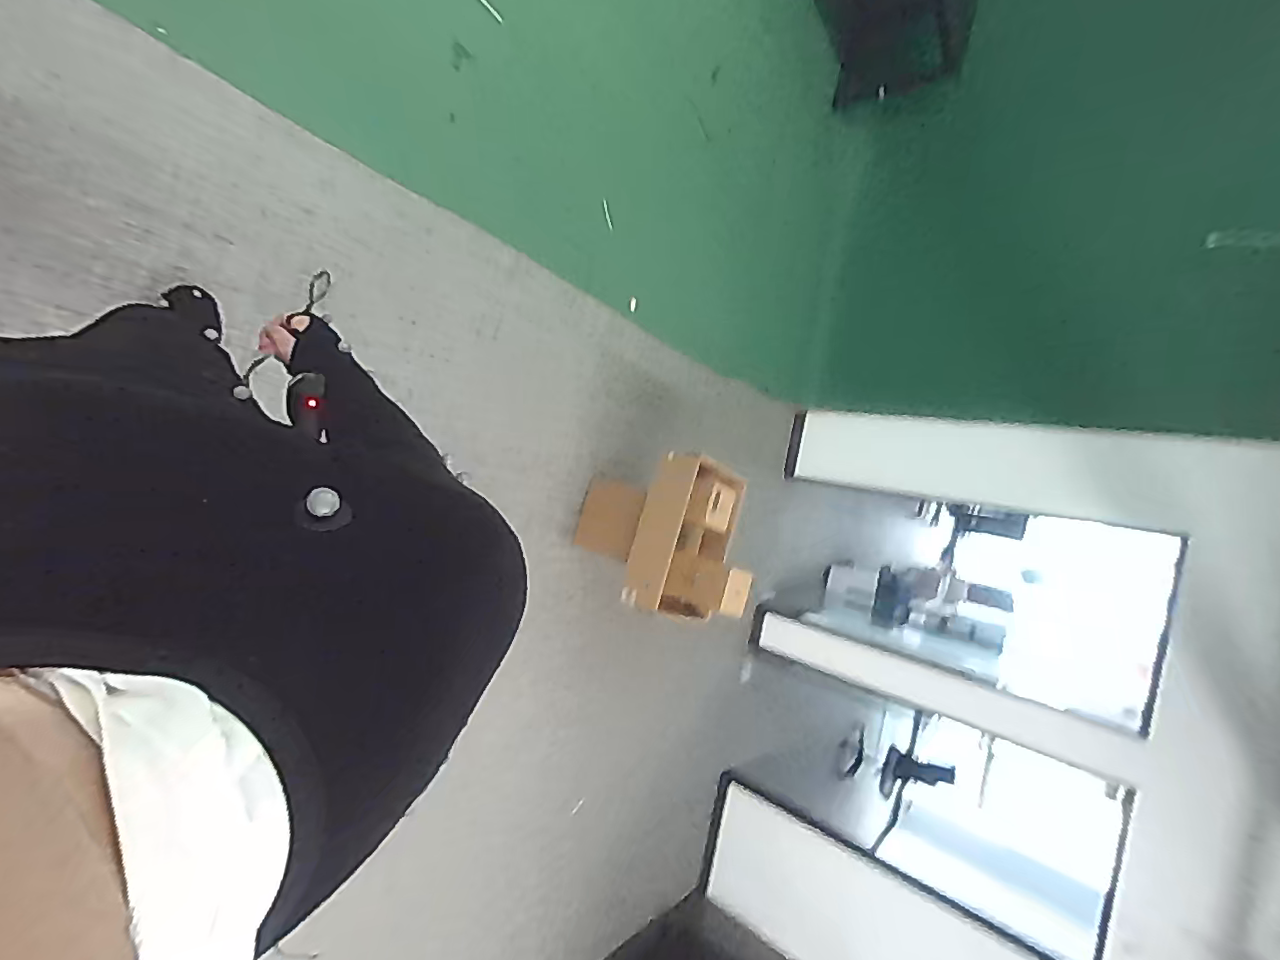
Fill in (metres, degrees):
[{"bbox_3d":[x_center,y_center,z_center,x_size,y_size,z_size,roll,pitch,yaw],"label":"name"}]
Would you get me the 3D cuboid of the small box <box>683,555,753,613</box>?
[{"bbox_3d":[0.289,0.385,2.009,0.179,0.176,0.168,26,78,-49],"label":"small box"}]
